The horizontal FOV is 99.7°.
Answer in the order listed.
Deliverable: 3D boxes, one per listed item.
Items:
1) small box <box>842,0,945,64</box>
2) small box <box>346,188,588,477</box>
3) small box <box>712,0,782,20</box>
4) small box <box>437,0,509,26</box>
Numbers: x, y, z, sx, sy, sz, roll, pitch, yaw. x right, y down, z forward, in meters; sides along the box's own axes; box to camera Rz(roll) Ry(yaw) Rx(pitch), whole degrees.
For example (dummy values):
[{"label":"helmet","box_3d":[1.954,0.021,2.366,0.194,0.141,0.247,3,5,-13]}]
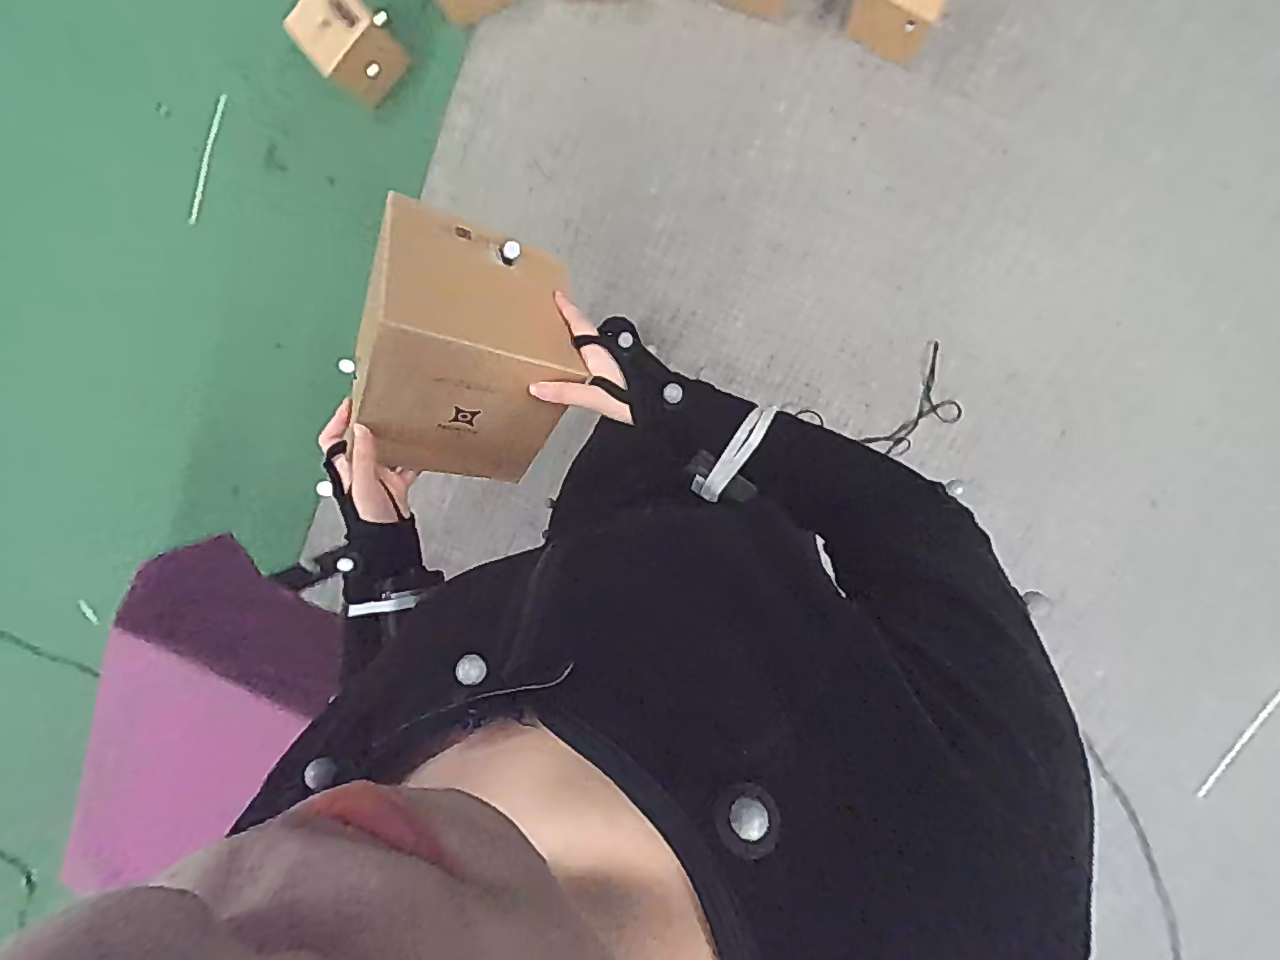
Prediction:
[{"label":"small box","box_3d":[0.558,-1.040,1.148,0.179,0.176,0.168,30,103,3]},{"label":"small box","box_3d":[-0.167,-0.129,0.517,0.179,0.168,0.176,-45,46,42]},{"label":"small box","box_3d":[0.255,-1.159,1.176,0.179,0.176,0.168,24,102,4]},{"label":"small box","box_3d":[-0.427,-1.236,1.277,0.179,0.176,0.168,-18,96,11]}]
